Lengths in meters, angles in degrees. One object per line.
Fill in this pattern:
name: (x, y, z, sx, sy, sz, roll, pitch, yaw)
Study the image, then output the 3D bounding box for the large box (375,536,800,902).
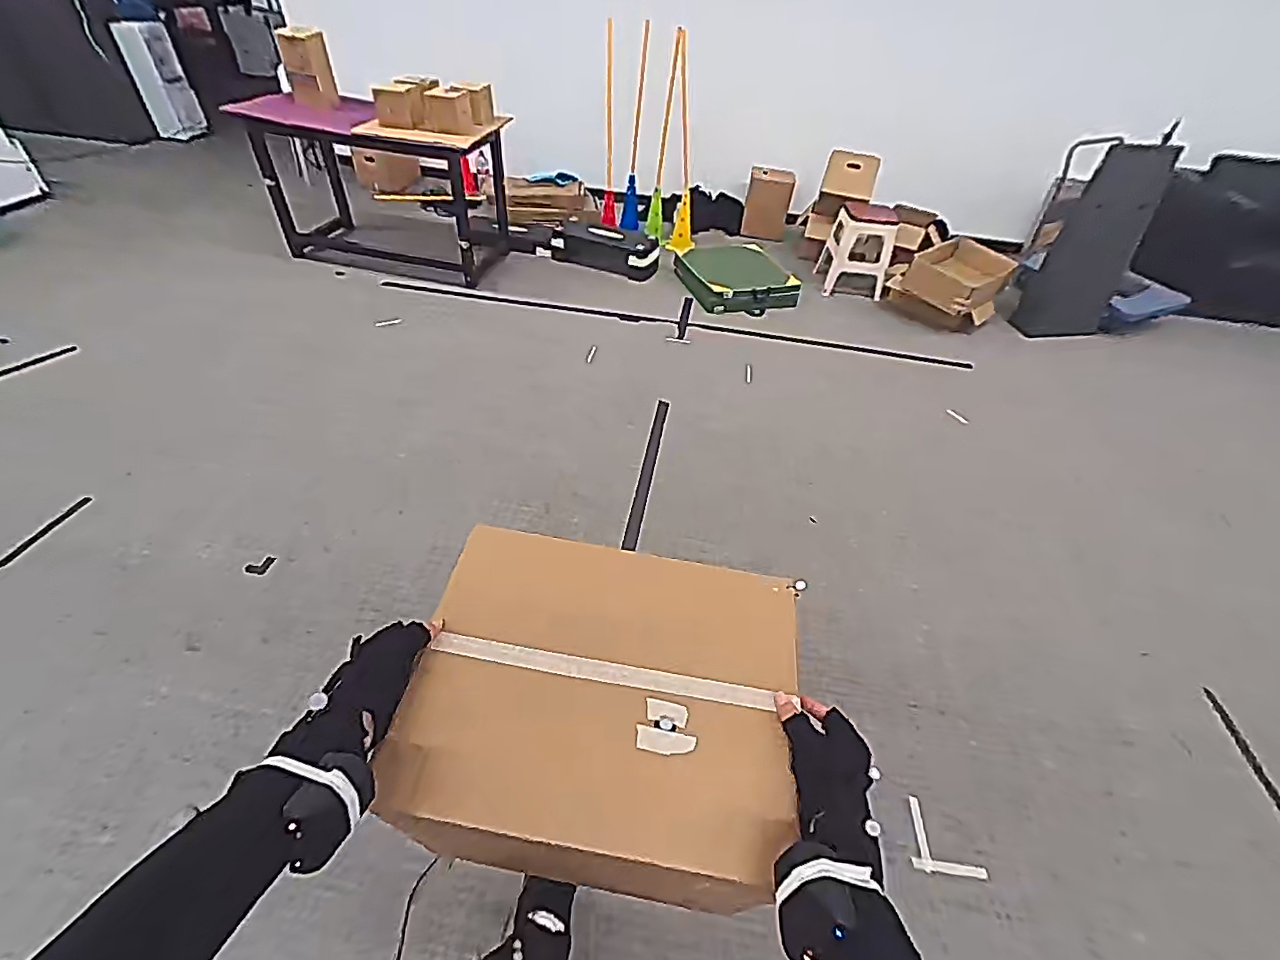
large box: (-0.045, 0.310, 0.700, 0.408, 0.320, 0.320, 10, 49, 2)
